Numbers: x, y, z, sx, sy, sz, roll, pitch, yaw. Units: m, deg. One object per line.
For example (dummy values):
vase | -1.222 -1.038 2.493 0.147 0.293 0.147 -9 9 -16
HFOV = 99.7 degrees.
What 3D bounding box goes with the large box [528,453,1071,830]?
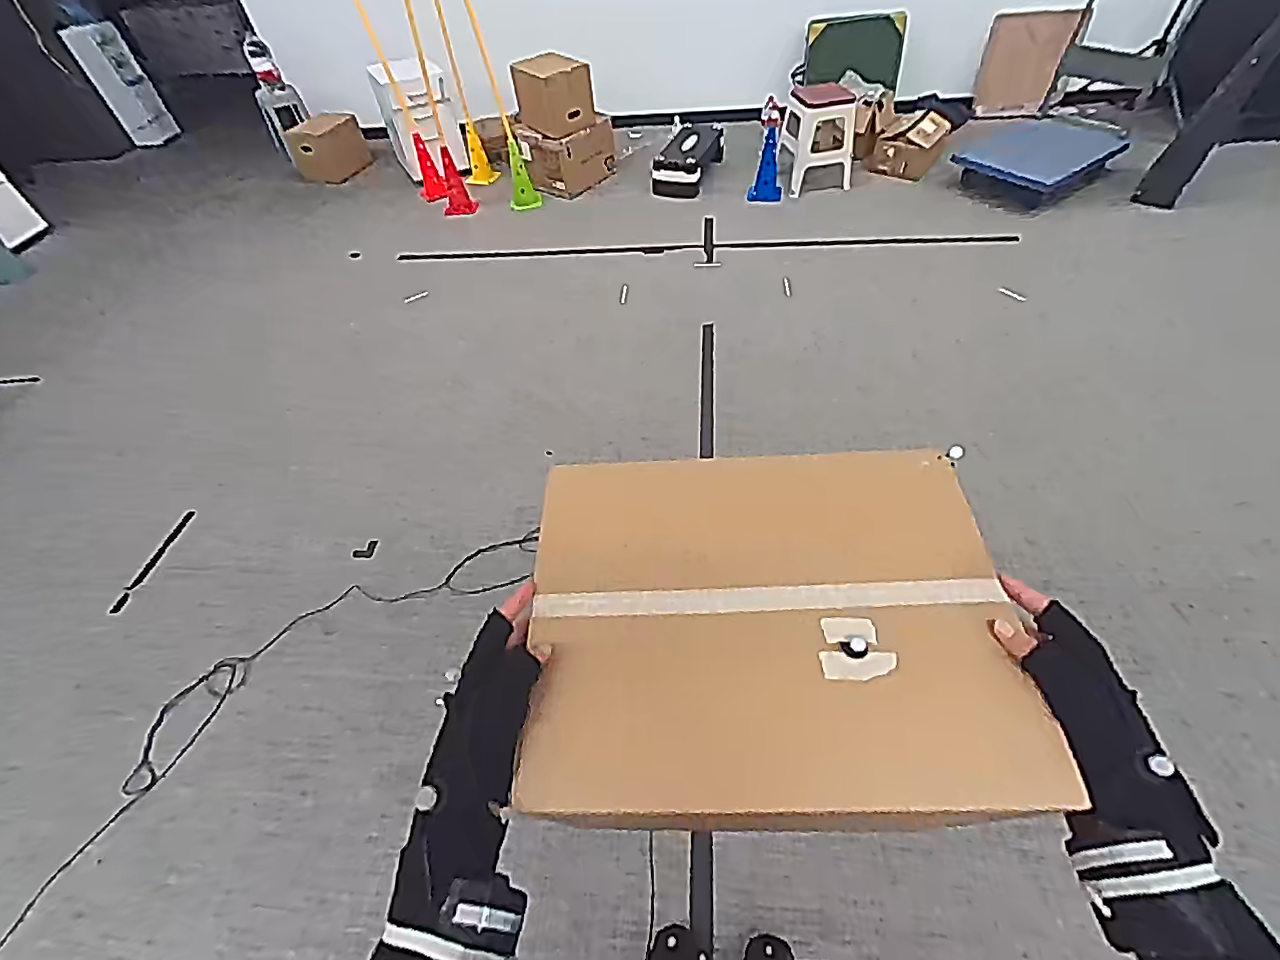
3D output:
large box | 0.118 0.192 0.599 0.408 0.320 0.320 -2 55 3
